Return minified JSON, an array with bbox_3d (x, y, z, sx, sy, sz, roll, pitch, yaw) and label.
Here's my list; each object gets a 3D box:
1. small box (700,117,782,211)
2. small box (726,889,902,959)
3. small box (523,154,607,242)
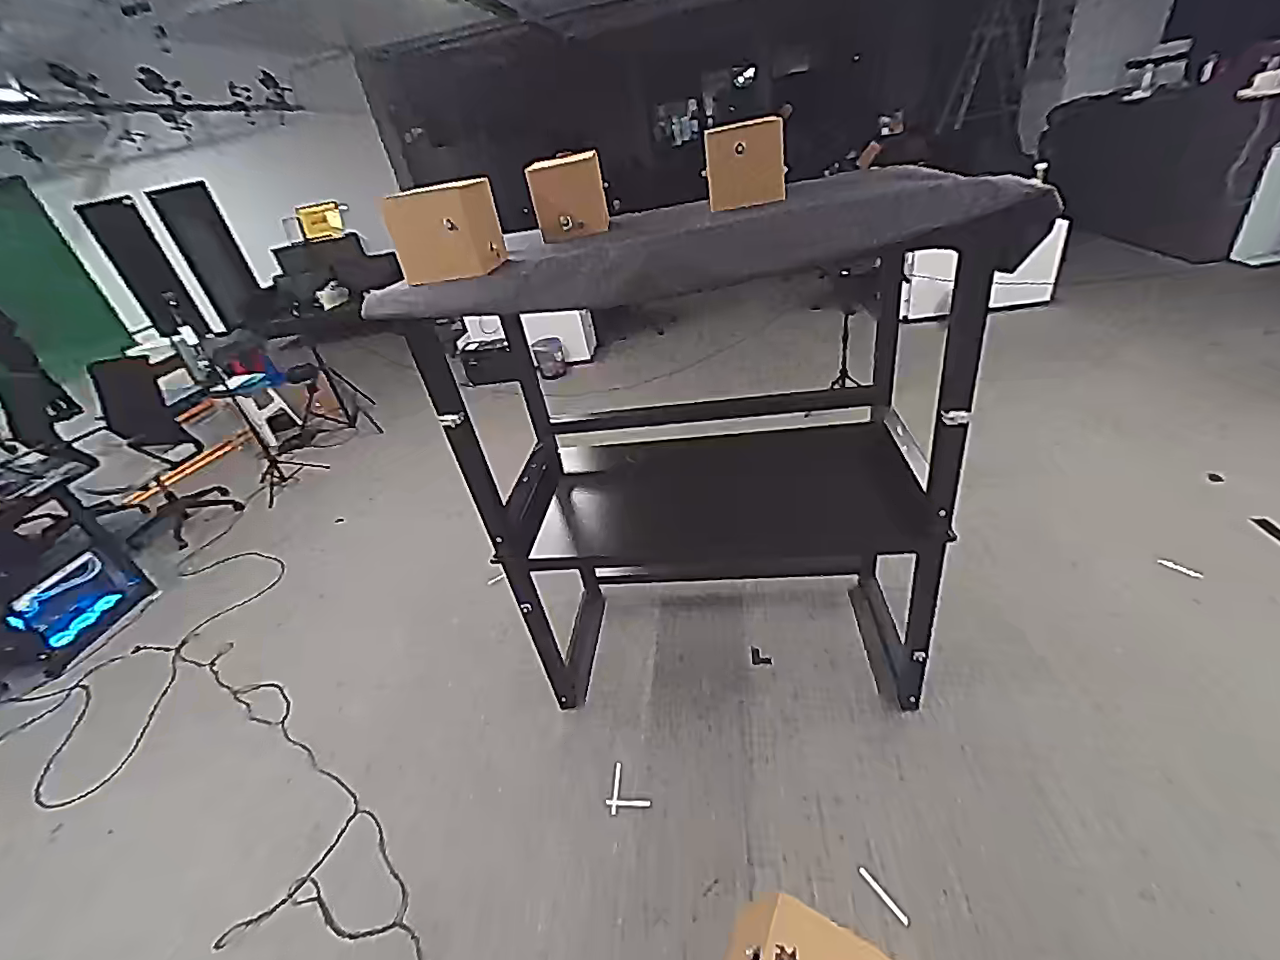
[{"bbox_3d":[0.245,-0.765,1.312,0.179,0.176,0.168,-5,34,10],"label":"small box"},{"bbox_3d":[0.185,0.581,0.574,0.179,0.176,0.168,25,47,13],"label":"small box"},{"bbox_3d":[-0.182,-0.714,1.371,0.168,0.176,0.179,-10,33,5],"label":"small box"}]
